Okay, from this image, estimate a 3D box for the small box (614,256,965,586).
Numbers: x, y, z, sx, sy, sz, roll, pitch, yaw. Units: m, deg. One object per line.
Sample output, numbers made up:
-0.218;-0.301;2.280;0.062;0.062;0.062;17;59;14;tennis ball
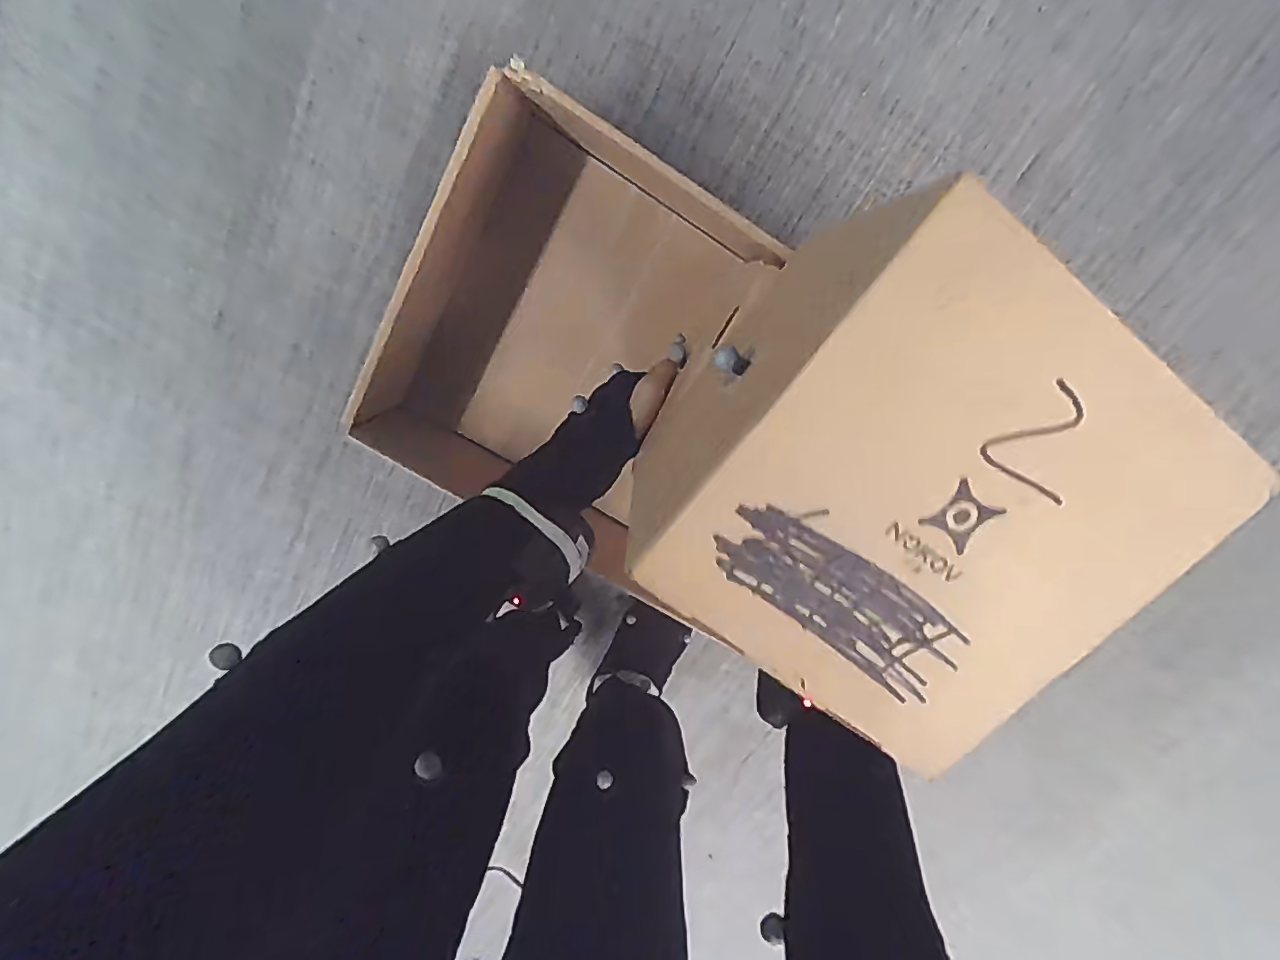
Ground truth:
0.098;-0.054;0.434;0.179;0.176;0.168;30;109;-9;small box
